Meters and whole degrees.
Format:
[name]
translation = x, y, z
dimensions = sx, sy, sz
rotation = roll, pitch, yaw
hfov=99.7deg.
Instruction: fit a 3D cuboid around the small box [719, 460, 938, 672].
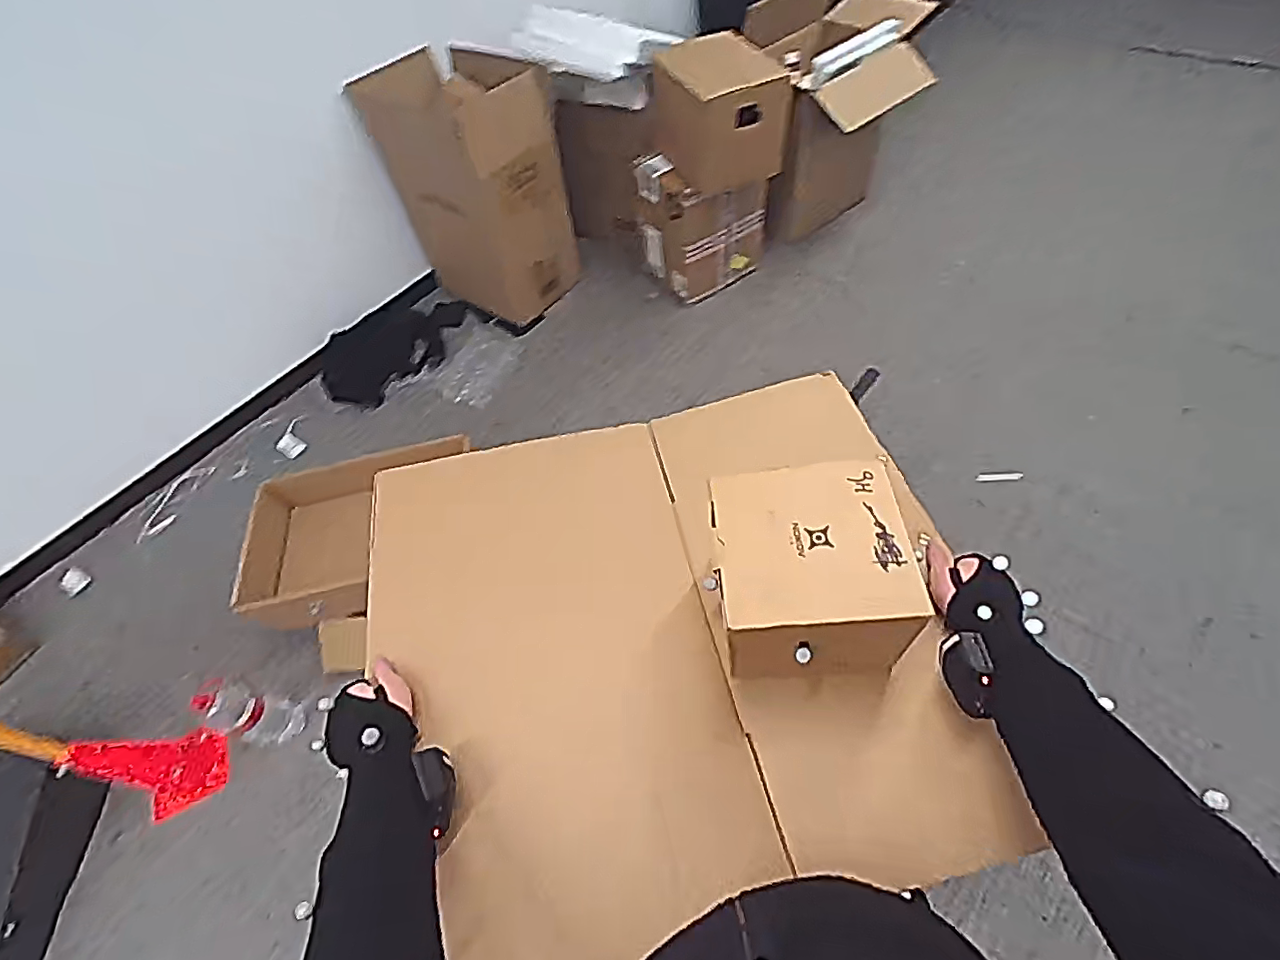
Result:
[small box]
translation = 0.184, 0.101, 0.579
dimensions = 0.179, 0.176, 0.168
rotation = -6, 56, 8
